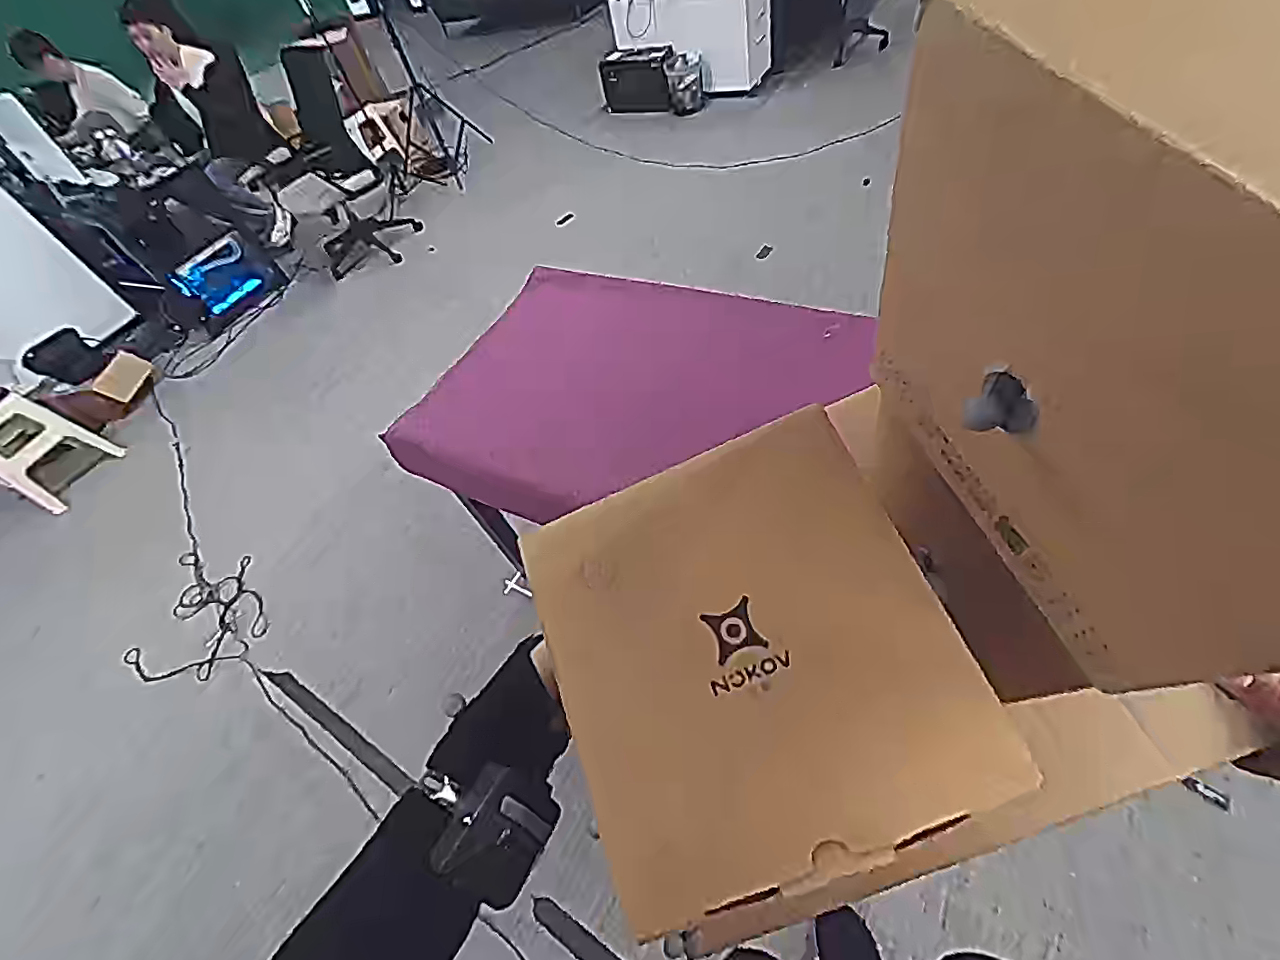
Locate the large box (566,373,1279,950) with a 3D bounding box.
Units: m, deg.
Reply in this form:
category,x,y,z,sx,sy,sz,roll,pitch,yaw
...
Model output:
category,x,y,z,sx,sy,sz,roll,pitch,yaw
large box,0.203,0.149,0.523,0.408,0.320,0.320,-26,58,6
